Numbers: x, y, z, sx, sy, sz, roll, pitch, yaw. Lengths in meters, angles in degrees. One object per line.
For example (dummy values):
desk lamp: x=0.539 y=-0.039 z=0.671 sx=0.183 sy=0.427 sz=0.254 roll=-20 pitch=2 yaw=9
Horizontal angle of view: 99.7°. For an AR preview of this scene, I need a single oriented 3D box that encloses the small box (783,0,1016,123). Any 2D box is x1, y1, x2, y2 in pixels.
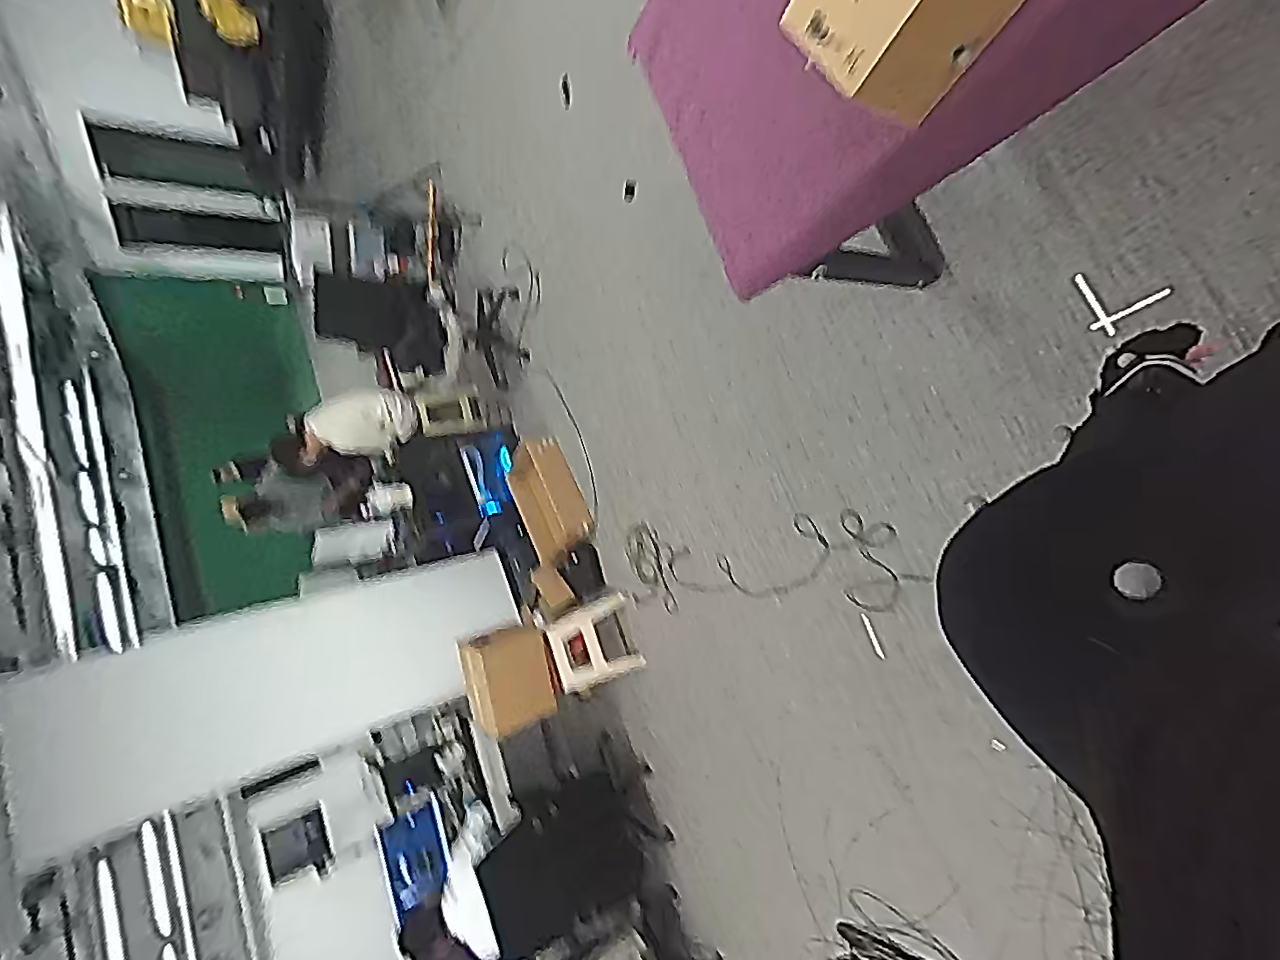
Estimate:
small box: x=0.316 y=-0.579 z=0.651 sx=0.179 sy=0.176 sz=0.168 roll=-48 pitch=61 yaw=46
